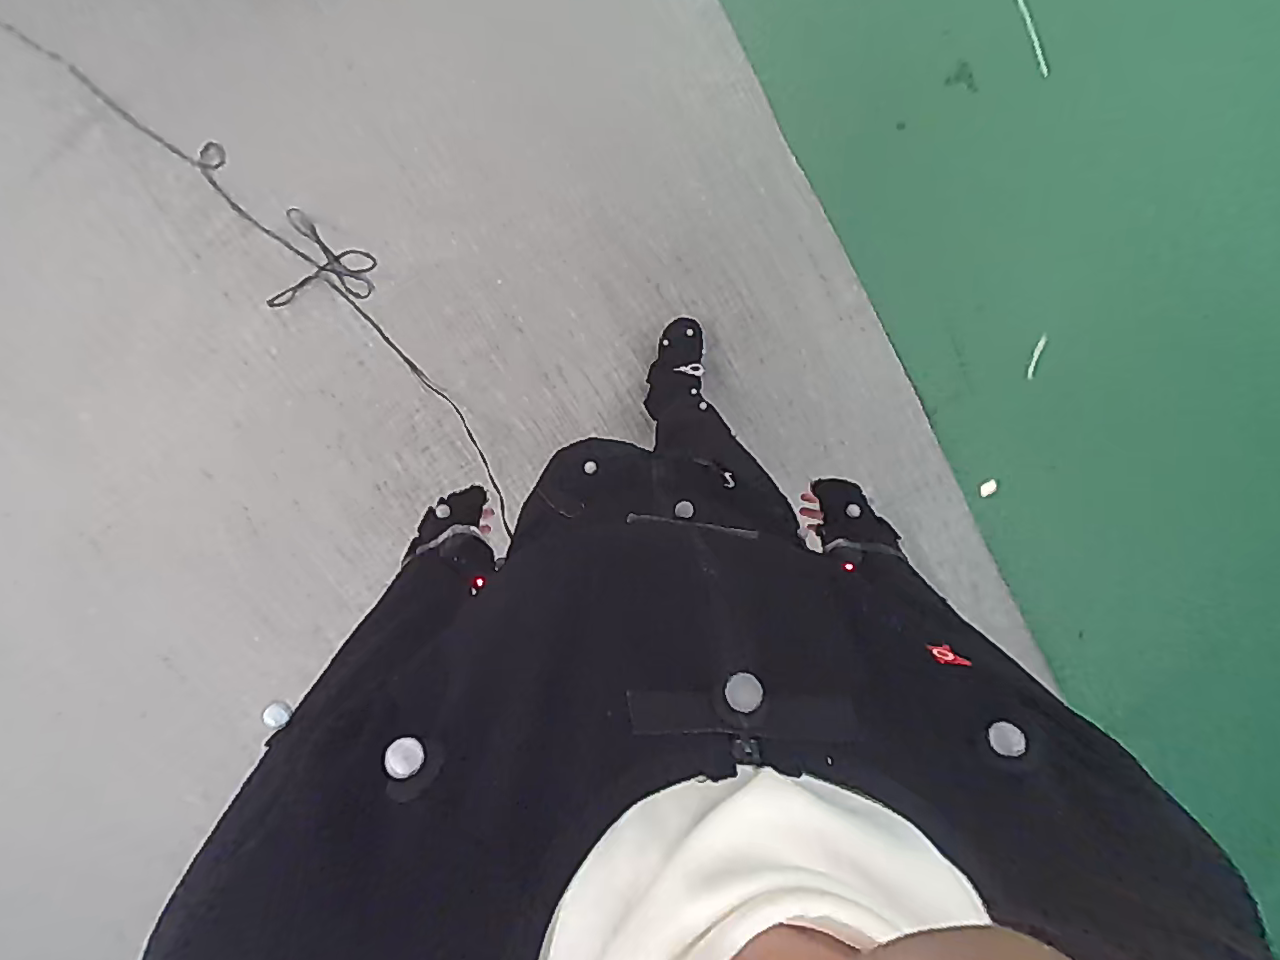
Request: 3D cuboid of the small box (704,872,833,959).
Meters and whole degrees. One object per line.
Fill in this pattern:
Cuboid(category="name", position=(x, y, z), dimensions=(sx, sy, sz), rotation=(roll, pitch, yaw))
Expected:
Cuboid(category="small box", position=(0.227, 0.810, 0.894), dimensions=(0.168, 0.176, 0.179), rotation=(-32, 101, 1))
